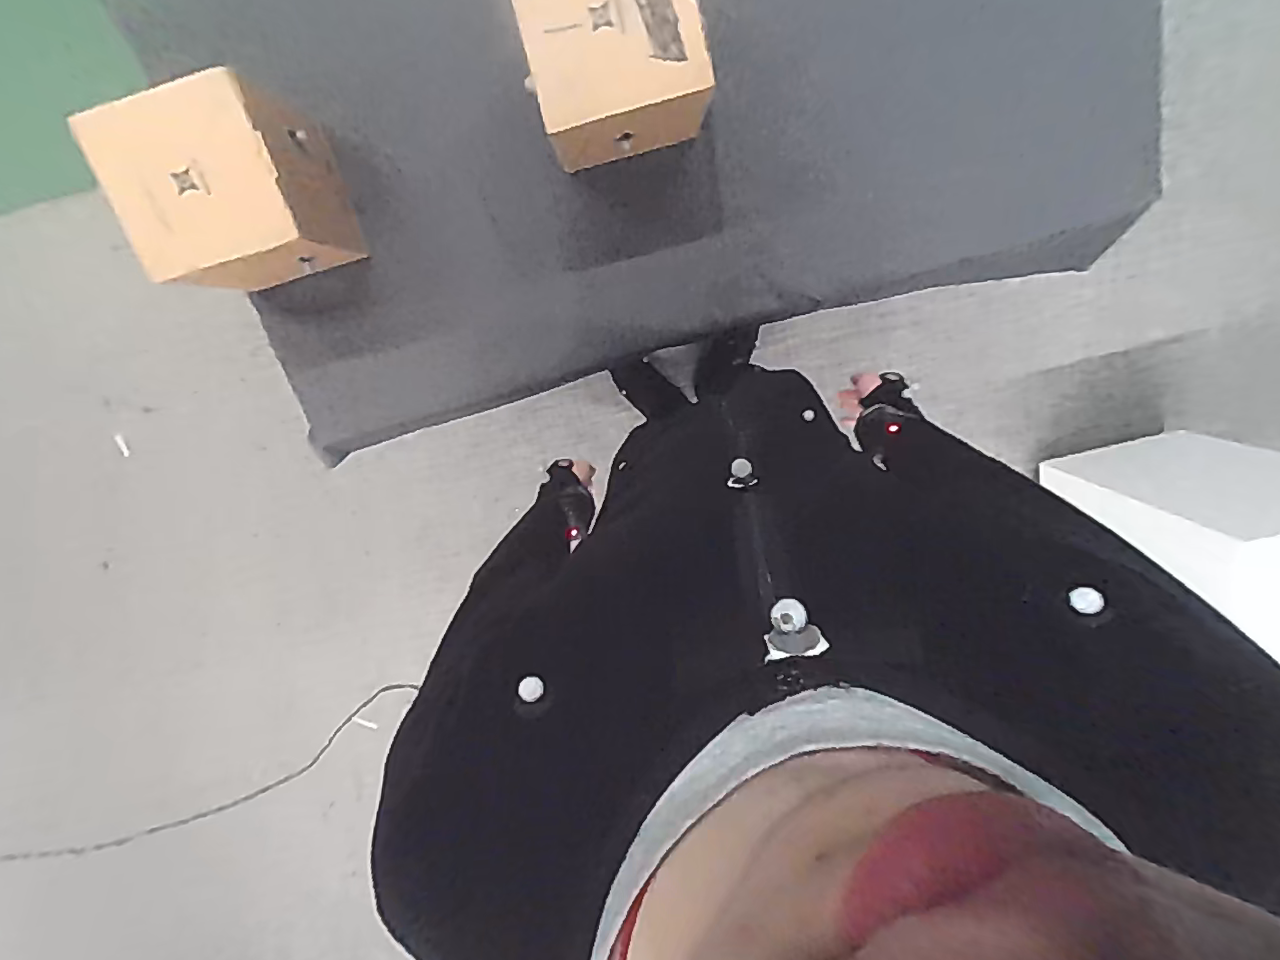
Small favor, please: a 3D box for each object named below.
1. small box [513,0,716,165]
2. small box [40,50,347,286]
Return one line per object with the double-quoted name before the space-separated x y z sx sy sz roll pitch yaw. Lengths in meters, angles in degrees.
"small box" -0.031 -0.463 0.576 0.179 0.176 0.168 -14 107 2
"small box" -0.461 -0.324 0.600 0.179 0.176 0.168 -16 106 3
